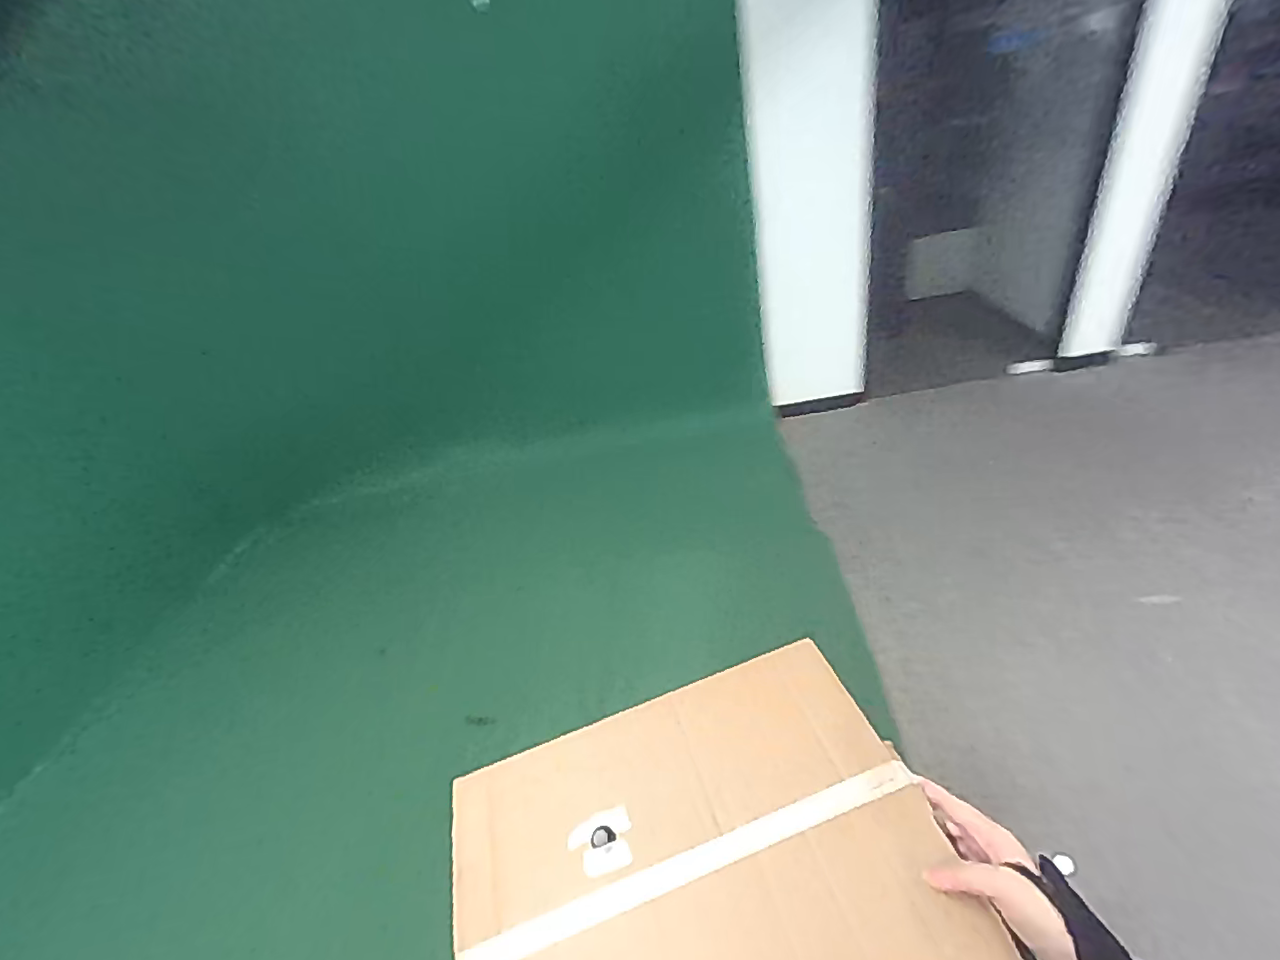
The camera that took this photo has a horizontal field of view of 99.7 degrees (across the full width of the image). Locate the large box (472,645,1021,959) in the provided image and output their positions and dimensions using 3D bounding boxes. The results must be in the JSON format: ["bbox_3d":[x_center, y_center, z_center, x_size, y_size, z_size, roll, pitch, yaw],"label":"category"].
[{"bbox_3d":[0.085,0.447,0.559,0.408,0.320,0.320,-20,38,-4],"label":"large box"}]
